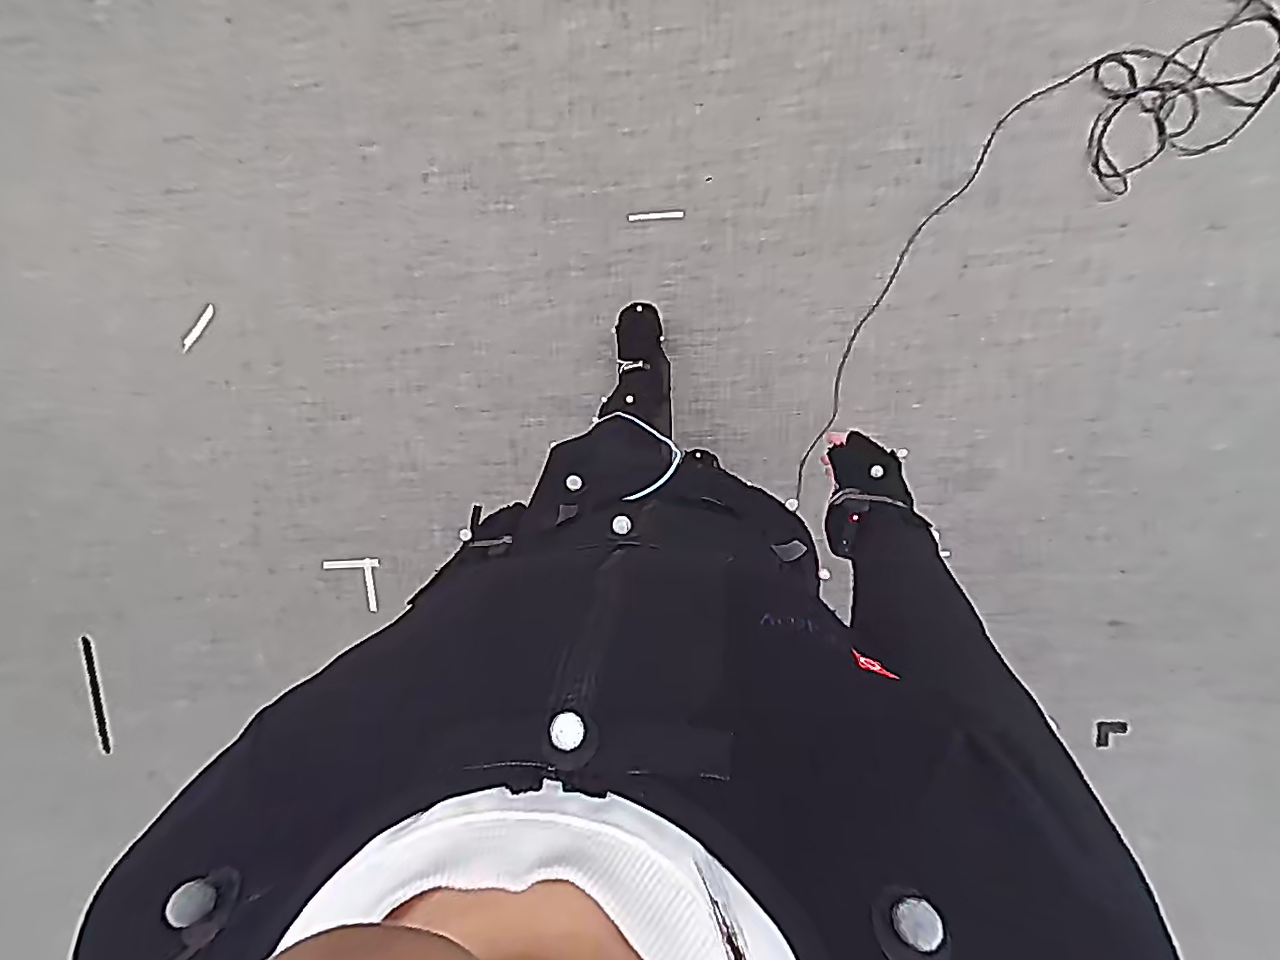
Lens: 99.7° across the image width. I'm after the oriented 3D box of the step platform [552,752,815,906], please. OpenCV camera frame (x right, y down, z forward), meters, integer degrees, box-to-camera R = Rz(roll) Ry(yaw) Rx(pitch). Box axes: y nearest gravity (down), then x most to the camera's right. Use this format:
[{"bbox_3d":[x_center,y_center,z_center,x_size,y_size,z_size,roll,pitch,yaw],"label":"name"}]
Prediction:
[{"bbox_3d":[0.109,0.921,1.444,0.684,0.204,0.286,-2,96,8],"label":"step platform"}]
